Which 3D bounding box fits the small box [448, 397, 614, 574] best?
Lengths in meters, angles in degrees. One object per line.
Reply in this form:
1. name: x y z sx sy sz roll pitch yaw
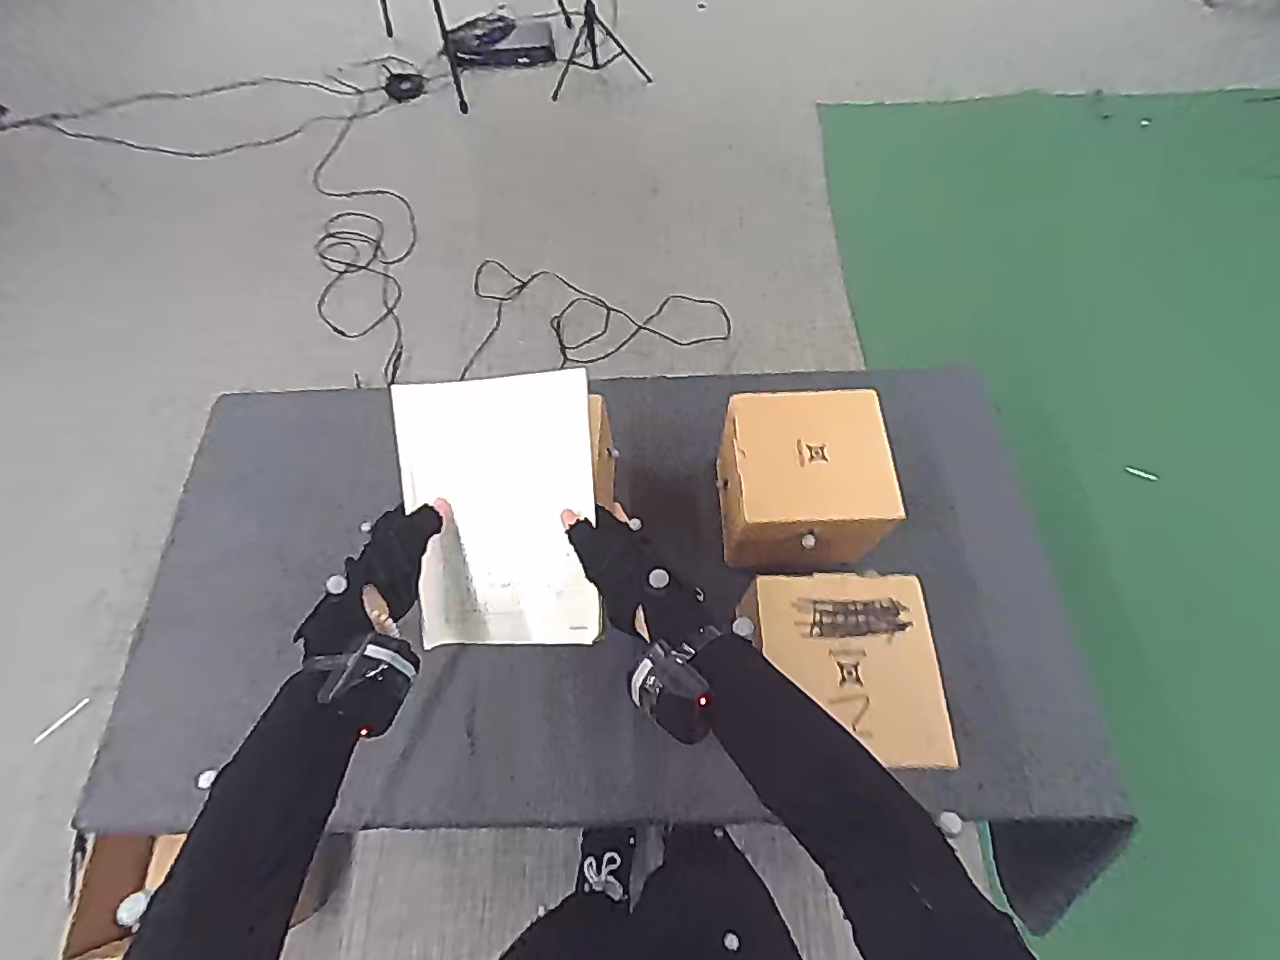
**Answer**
1. small box: -0.125 0.012 0.702 0.168 0.176 0.179 1 65 4
